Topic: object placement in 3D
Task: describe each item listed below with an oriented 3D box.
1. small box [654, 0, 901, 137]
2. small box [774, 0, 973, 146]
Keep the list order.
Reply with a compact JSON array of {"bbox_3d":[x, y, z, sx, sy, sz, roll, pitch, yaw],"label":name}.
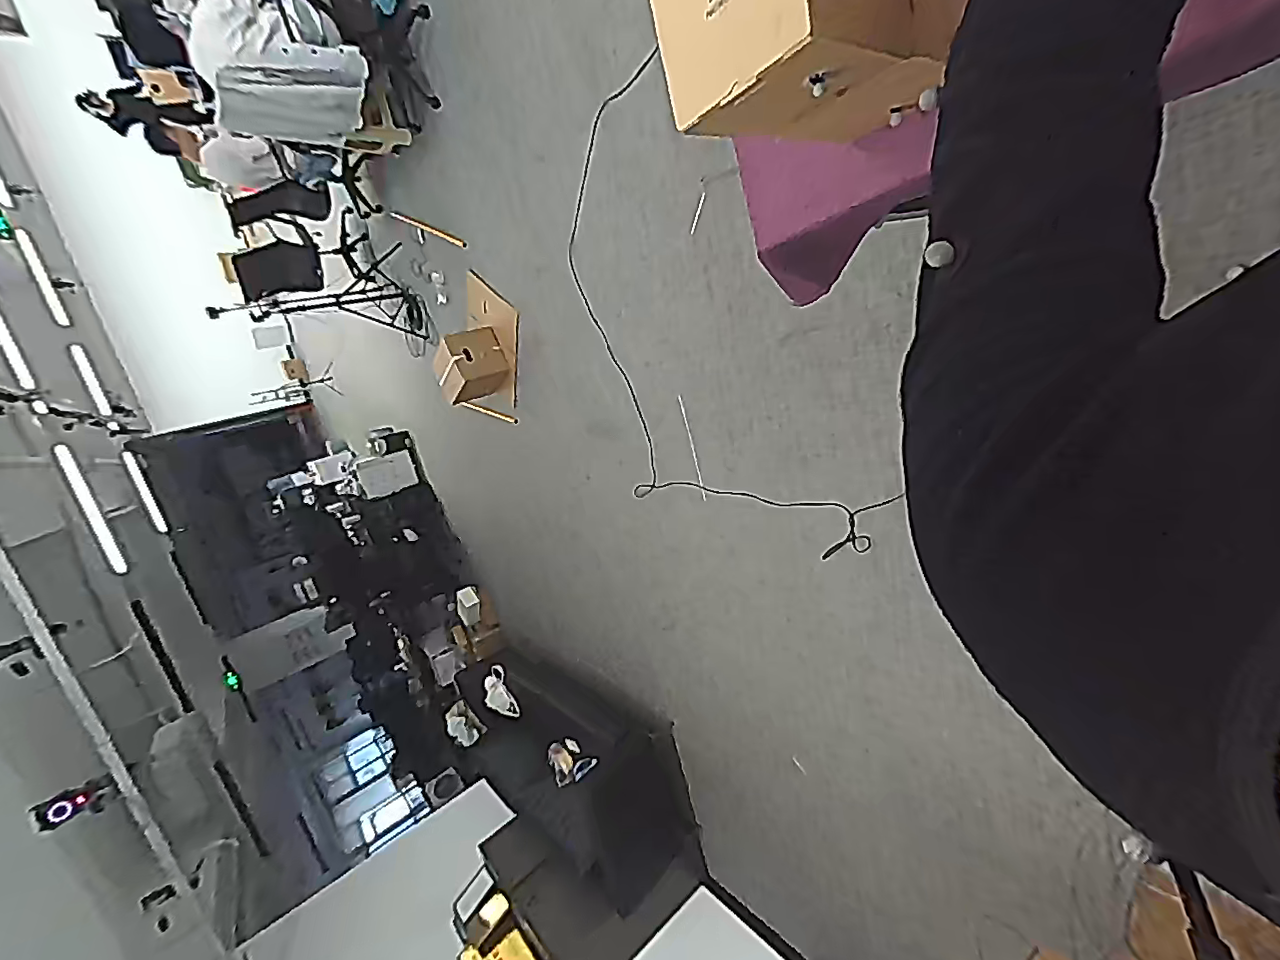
[{"bbox_3d":[0.135,-0.467,0.534,0.168,0.176,0.179,4,111,53],"label":"small box"},{"bbox_3d":[0.261,-0.514,0.627,0.179,0.176,0.168,2,109,53],"label":"small box"}]
